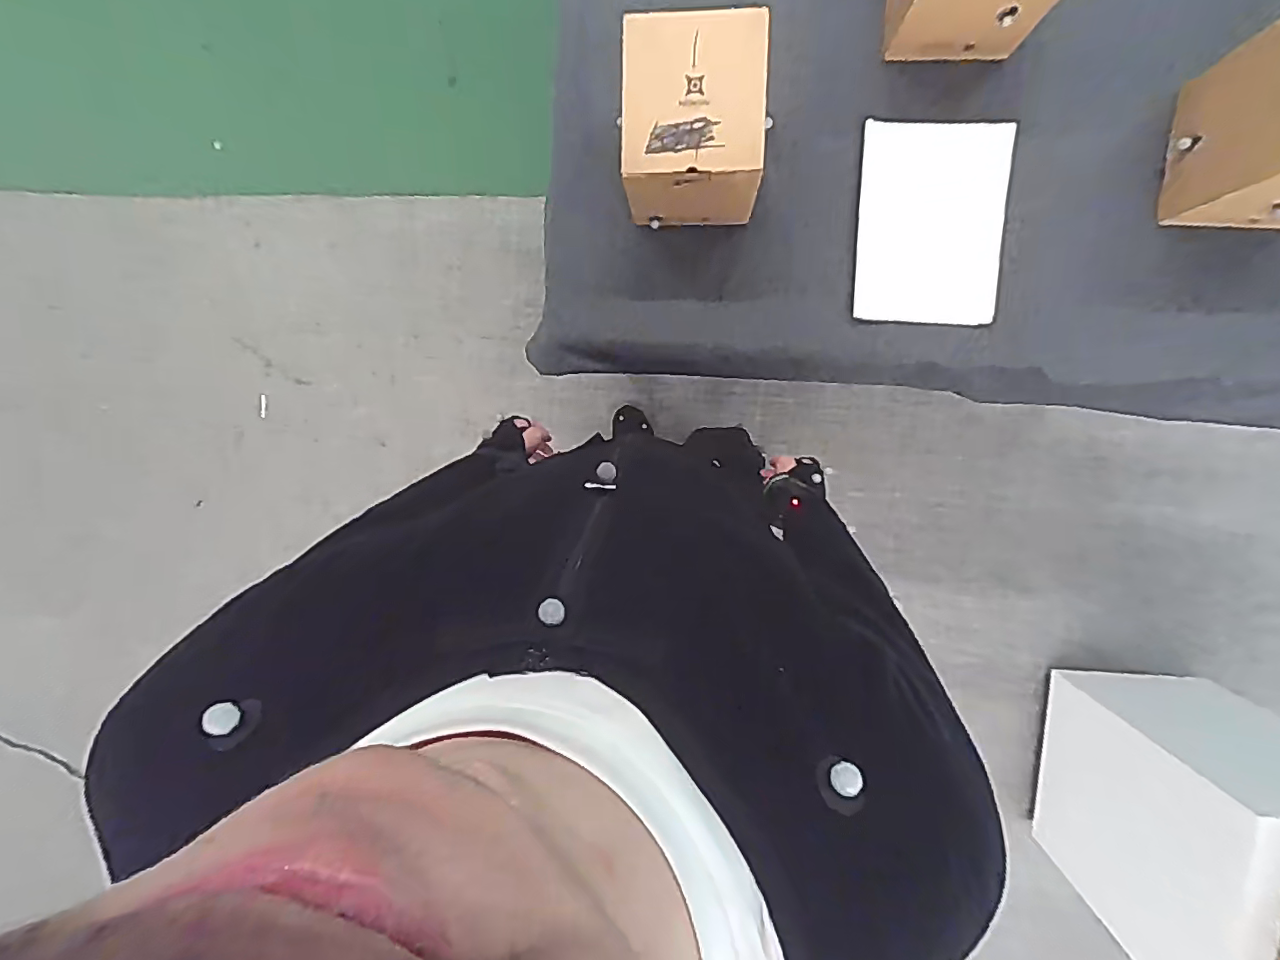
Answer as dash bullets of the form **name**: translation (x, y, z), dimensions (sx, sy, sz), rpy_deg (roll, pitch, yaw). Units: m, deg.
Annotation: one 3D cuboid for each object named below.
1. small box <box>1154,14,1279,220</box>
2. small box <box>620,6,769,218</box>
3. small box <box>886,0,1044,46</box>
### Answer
- **small box**: translation (0.772, -0.422, 0.639), dimensions (0.168, 0.176, 0.179), rpy_deg (4, 99, 4)
- **small box**: translation (0.067, -0.452, 0.695), dimensions (0.168, 0.176, 0.179), rpy_deg (1, 97, 4)
- **small box**: translation (0.402, -0.646, 0.627), dimensions (0.168, 0.176, 0.179), rpy_deg (2, 97, 4)
